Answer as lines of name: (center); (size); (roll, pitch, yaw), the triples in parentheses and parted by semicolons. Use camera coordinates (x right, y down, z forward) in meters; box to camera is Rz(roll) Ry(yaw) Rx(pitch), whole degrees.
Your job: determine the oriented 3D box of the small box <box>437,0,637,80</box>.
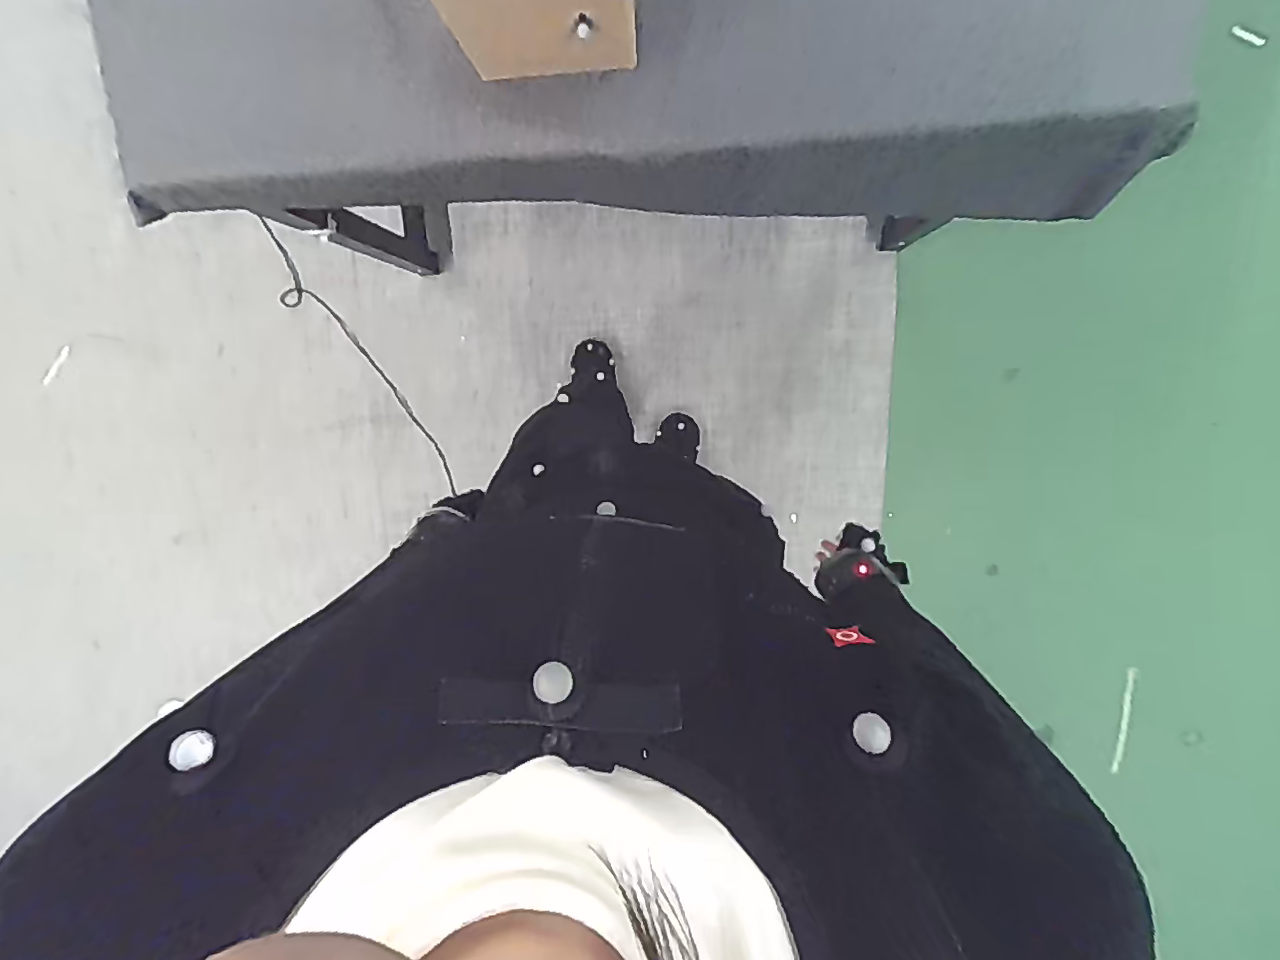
small box: (-0.095, -0.520, 0.514); (0.179, 0.176, 0.168); (-1, 99, 6)
